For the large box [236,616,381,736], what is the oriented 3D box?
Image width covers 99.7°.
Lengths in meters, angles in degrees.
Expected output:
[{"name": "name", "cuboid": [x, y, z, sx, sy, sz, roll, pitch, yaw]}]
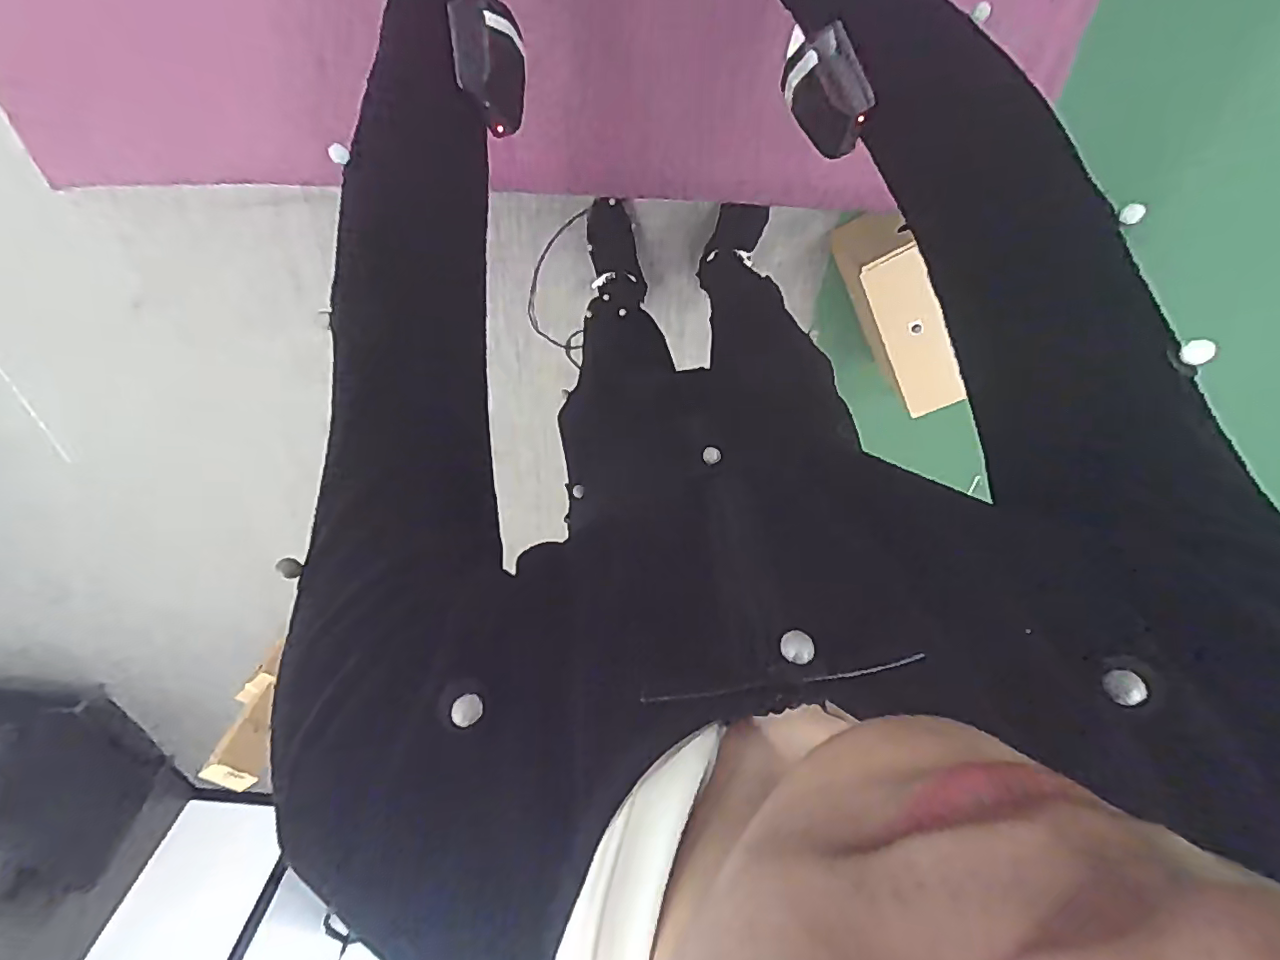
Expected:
[{"name": "large box", "cuboid": [-1.473, 0.881, 2.430, 0.320, 0.320, 0.408, -36, 117, 28]}]

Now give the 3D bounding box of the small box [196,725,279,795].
[{"name": "small box", "cuboid": [-1.523, 1.063, 2.057, 0.179, 0.176, 0.168, -35, 117, 27]}]
